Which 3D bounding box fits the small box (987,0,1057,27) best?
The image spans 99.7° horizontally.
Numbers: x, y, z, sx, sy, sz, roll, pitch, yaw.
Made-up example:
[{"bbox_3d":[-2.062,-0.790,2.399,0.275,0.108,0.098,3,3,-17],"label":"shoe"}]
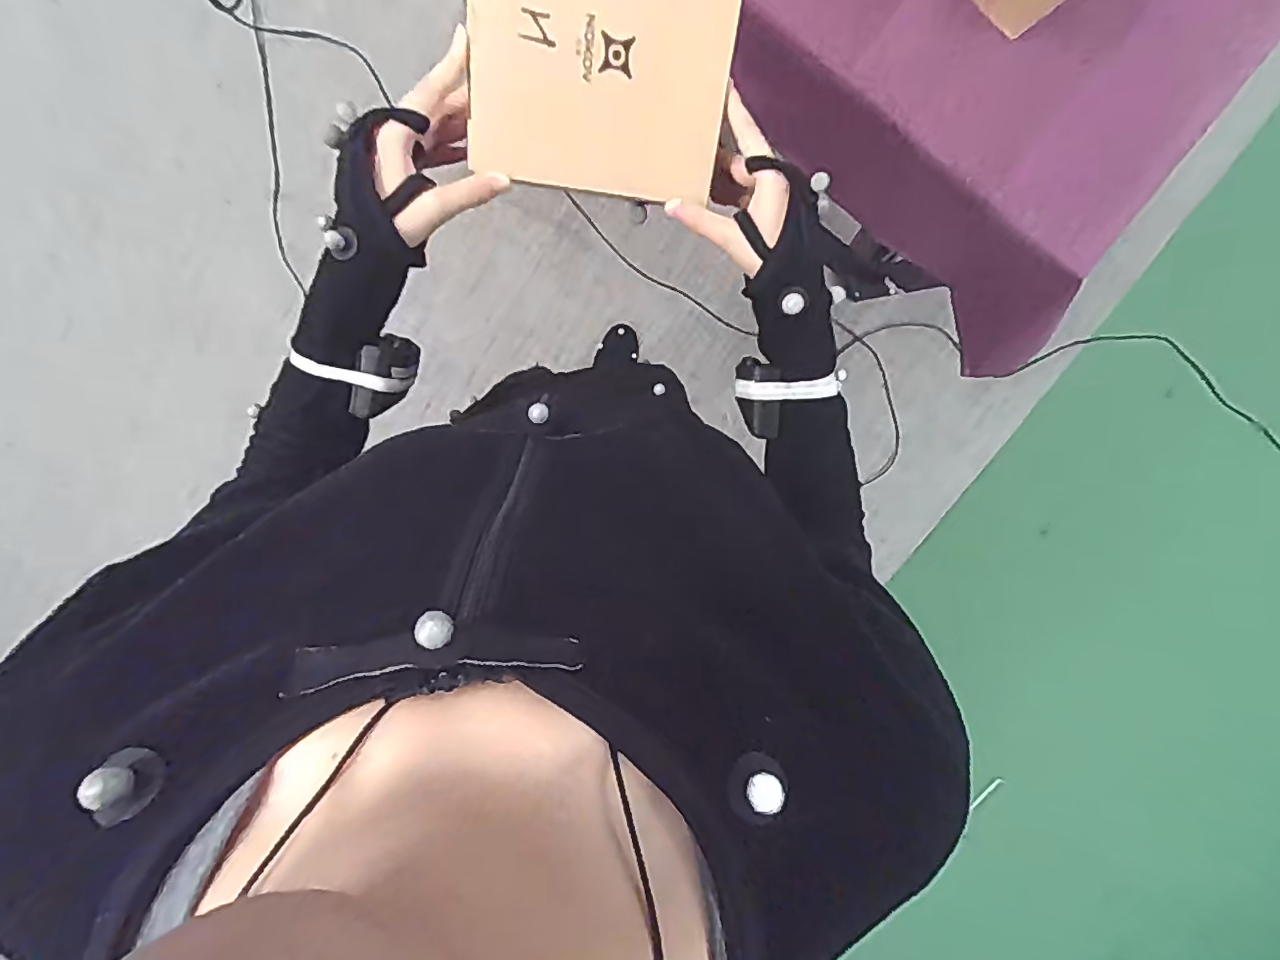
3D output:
[{"bbox_3d":[0.435,-0.622,0.538,0.168,0.176,0.179,35,100,-9],"label":"small box"}]
